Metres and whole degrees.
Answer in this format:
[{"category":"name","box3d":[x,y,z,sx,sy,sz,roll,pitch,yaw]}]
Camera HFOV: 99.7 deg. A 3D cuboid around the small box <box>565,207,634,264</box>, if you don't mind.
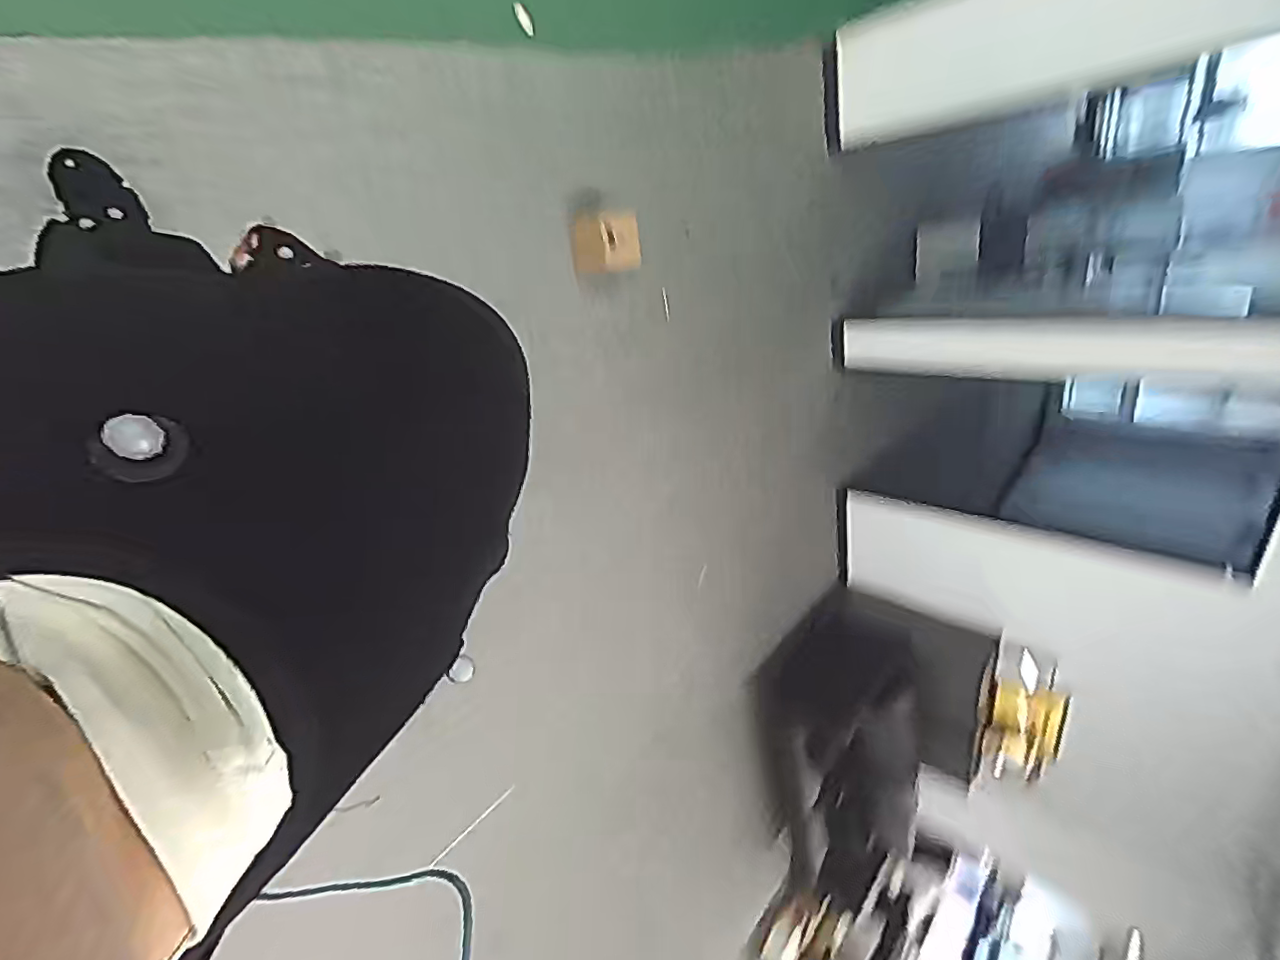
[{"category":"small box","box3d":[-0.150,-0.868,1.924,0.179,0.176,0.168,-29,122,-39]}]
